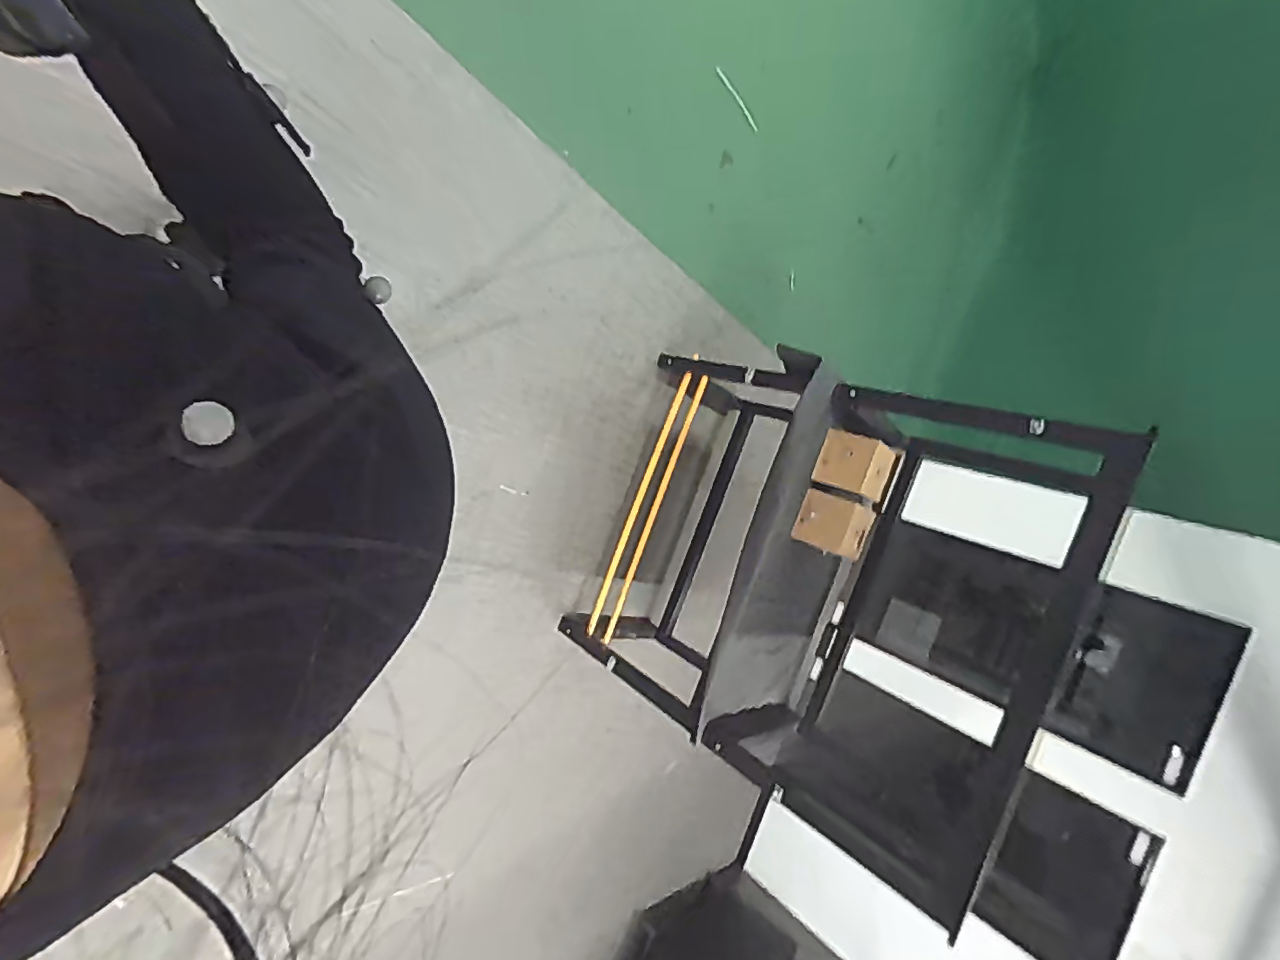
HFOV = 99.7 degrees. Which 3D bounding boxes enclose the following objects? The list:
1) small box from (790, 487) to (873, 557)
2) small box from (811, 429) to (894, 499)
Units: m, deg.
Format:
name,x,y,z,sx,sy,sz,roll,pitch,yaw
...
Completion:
name,x,y,z,sx,sy,sz,roll,pitch,yaw
small box,0.607,0.133,1.720,0.179,0.176,0.168,19,92,-48
small box,0.667,-0.054,1.704,0.179,0.176,0.168,17,94,-49
